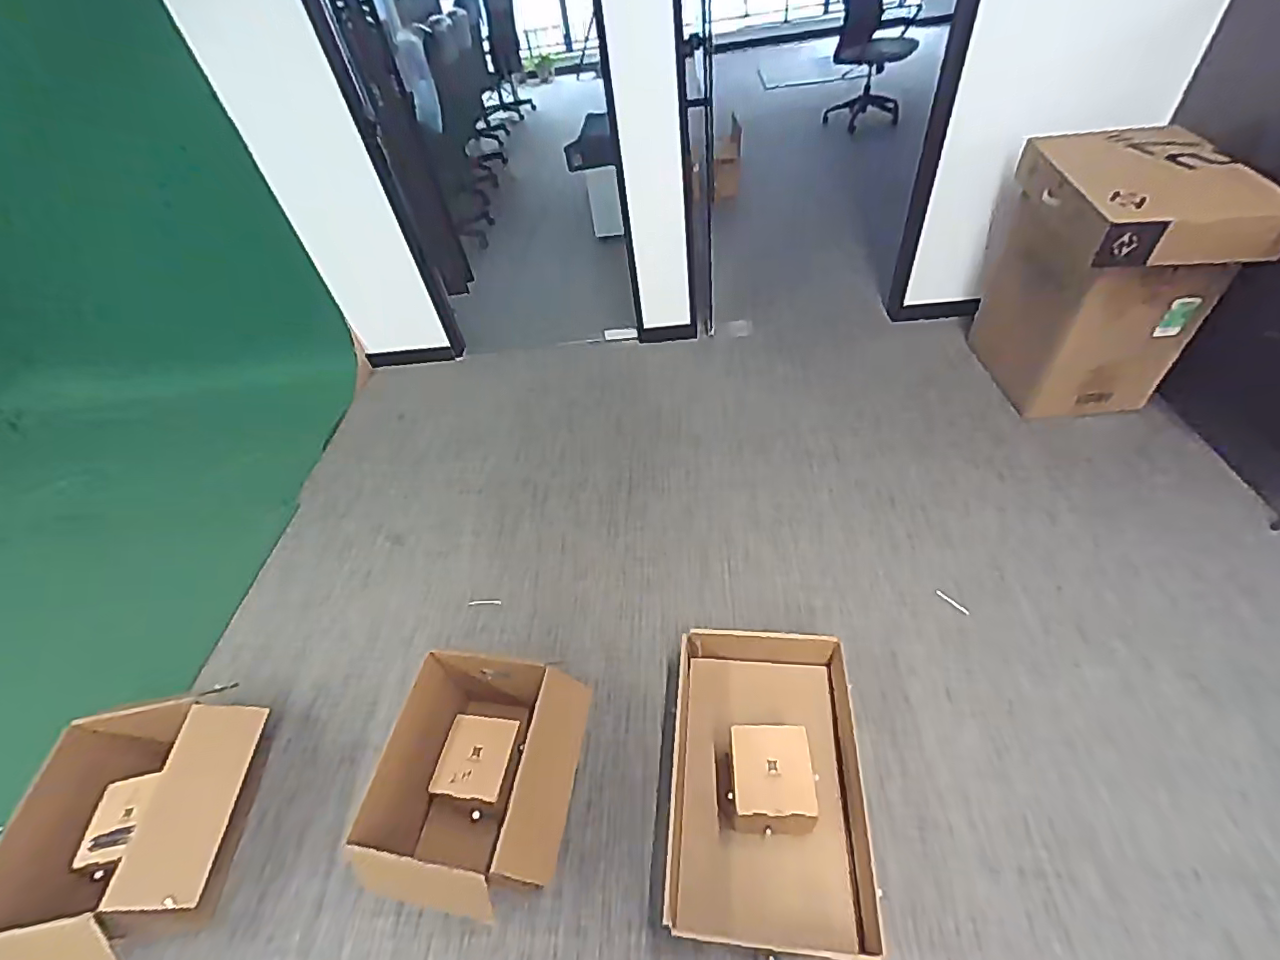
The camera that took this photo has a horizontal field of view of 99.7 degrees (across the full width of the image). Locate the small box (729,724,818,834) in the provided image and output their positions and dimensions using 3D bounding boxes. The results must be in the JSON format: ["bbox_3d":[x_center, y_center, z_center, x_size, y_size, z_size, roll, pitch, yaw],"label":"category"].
[{"bbox_3d":[0.285,0.660,1.195,0.168,0.176,0.179,-3,47,6],"label":"small box"}]
